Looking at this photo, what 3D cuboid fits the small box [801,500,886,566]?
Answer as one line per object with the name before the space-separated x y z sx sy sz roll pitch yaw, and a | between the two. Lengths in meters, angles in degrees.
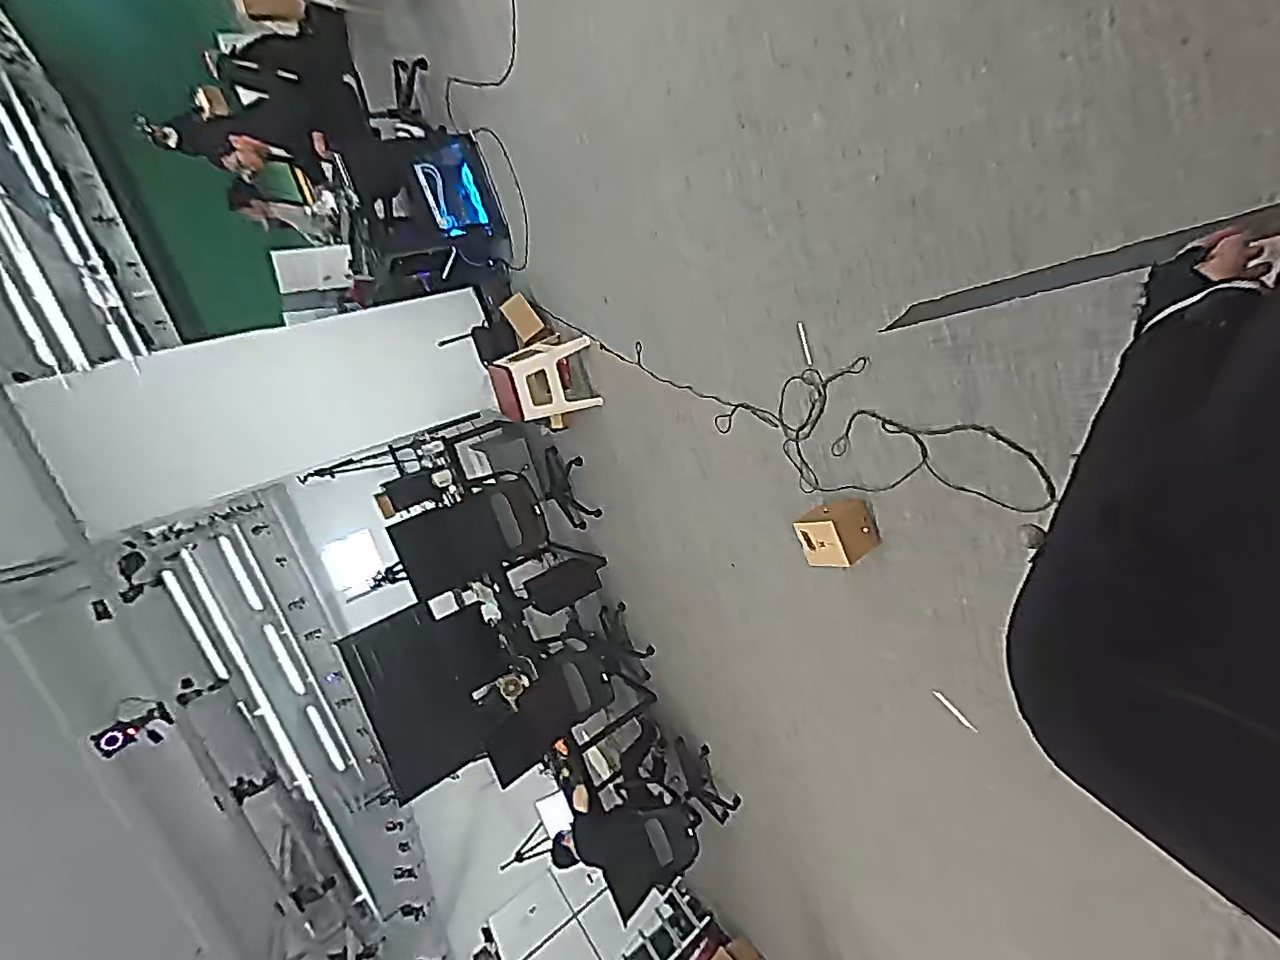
small box | 0.686 0.176 1.822 0.179 0.176 0.168 -13 102 62
